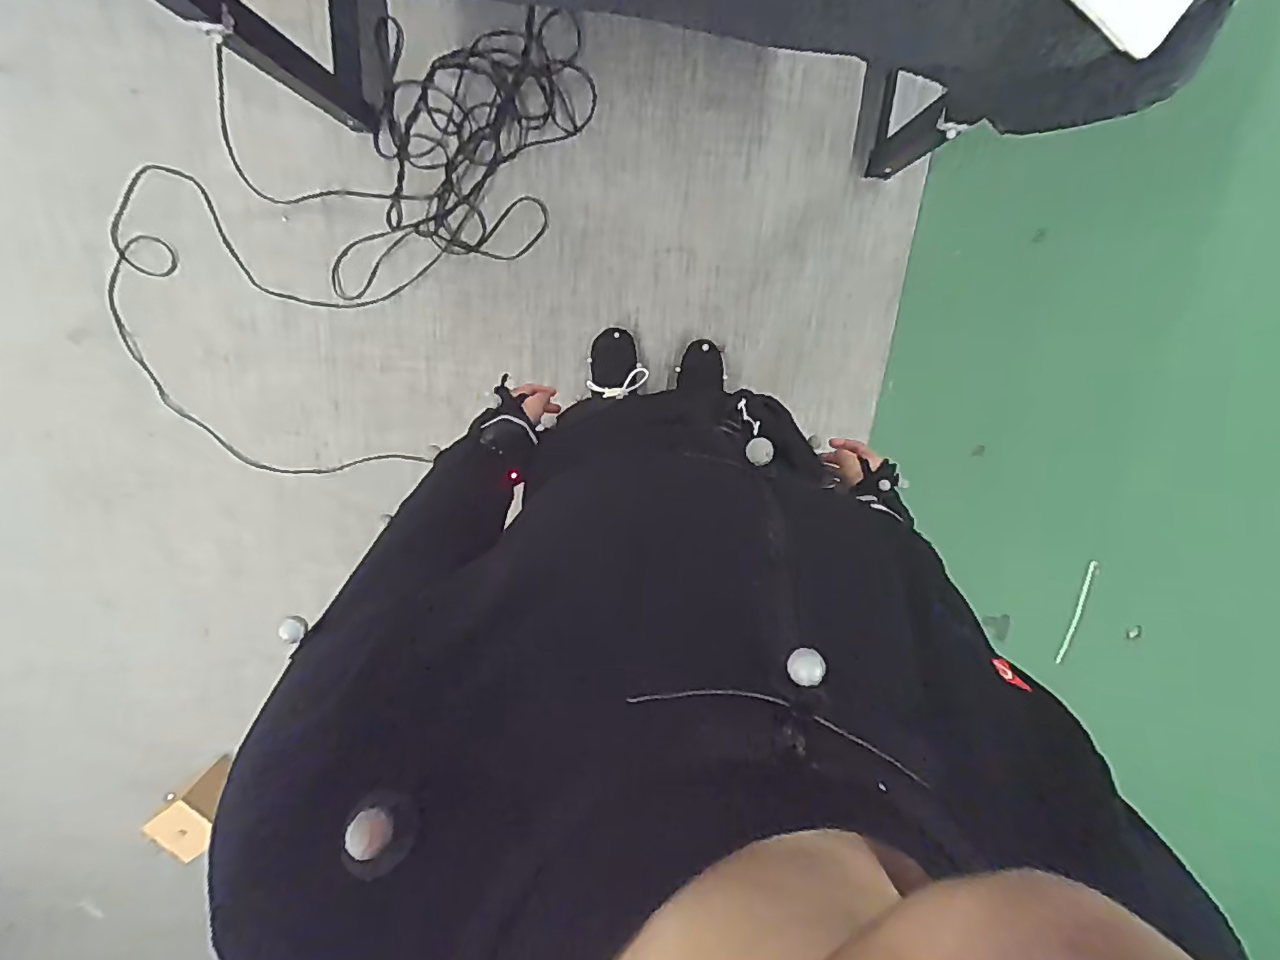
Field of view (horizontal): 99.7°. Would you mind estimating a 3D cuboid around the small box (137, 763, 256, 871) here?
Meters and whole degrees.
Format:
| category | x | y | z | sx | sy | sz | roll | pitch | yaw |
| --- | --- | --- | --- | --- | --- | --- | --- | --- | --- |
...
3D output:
| category | x | y | z | sx | sy | sz | roll | pitch | yaw |
| --- | --- | --- | --- | --- | --- | --- | --- | --- | --- |
| small box | -1.286 | 0.979 | 1.582 | 0.179 | 0.176 | 0.168 | -37 | 103 | 10 |
